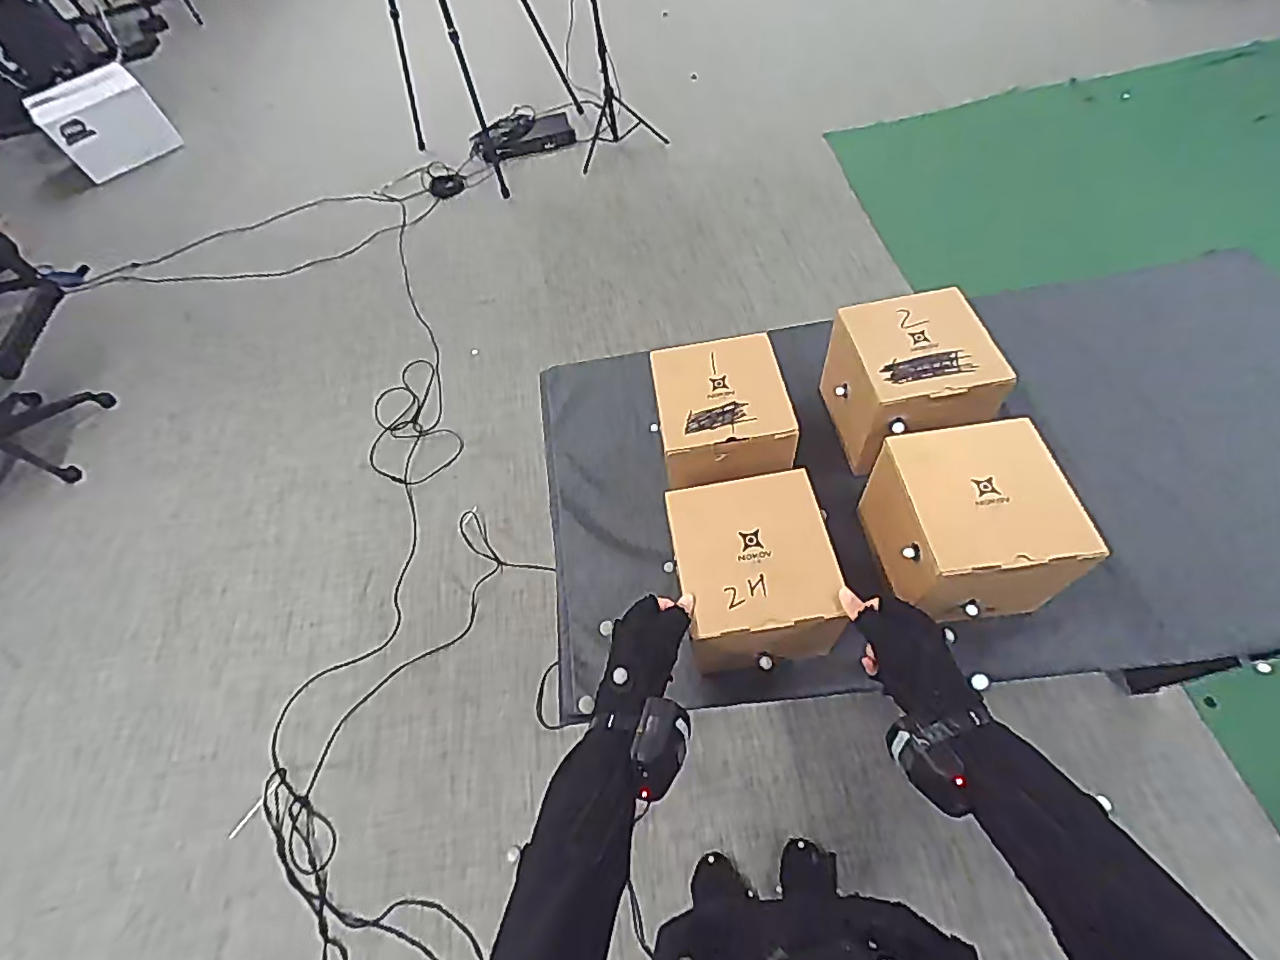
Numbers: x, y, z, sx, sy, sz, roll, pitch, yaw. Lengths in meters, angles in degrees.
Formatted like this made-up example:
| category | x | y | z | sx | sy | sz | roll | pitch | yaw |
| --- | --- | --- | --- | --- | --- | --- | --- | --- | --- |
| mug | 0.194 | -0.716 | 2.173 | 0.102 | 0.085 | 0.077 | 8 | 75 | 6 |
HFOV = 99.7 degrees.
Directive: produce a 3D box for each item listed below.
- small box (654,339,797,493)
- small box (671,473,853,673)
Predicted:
| category | x | y | z | sx | sy | sz | roll | pitch | yaw |
| --- | --- | --- | --- | --- | --- | --- | --- | --- | --- |
| small box | 0.117 | -0.070 | 0.775 | 0.168 | 0.176 | 0.179 | -9 | 57 | 3 |
| small box | 0.133 | 0.117 | 0.655 | 0.168 | 0.176 | 0.179 | -10 | 58 | 3 |
